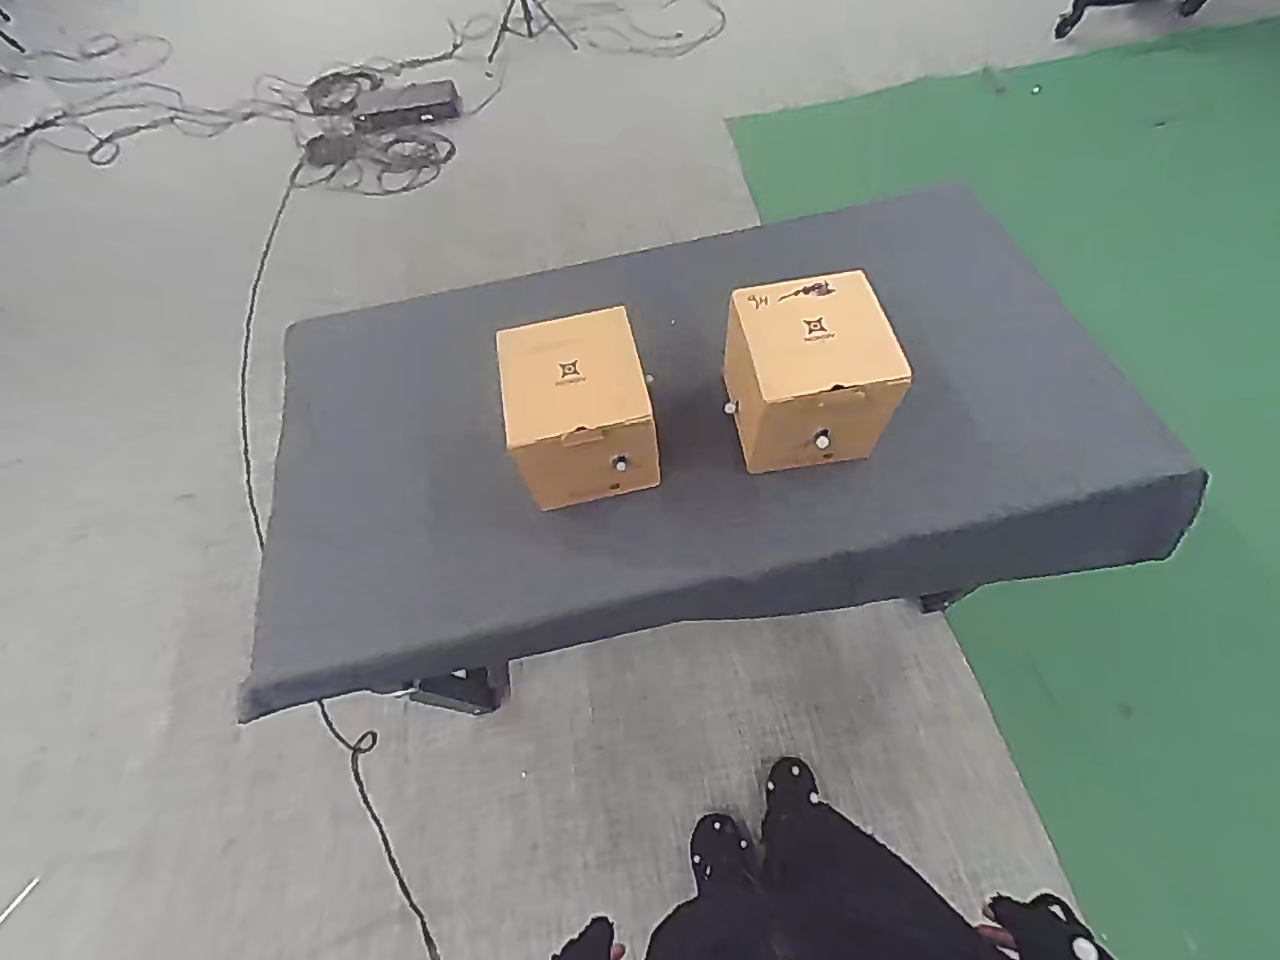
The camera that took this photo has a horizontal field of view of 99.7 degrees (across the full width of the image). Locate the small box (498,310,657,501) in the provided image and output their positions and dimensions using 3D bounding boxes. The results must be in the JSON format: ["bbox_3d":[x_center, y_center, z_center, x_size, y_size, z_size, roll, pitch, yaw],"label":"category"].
[{"bbox_3d":[-0.075,-0.087,0.709,0.168,0.176,0.179,-13,60,-3],"label":"small box"}]

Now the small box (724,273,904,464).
[{"bbox_3d":[0.210,-0.134,0.707,0.168,0.176,0.179,-9,62,0],"label":"small box"}]
